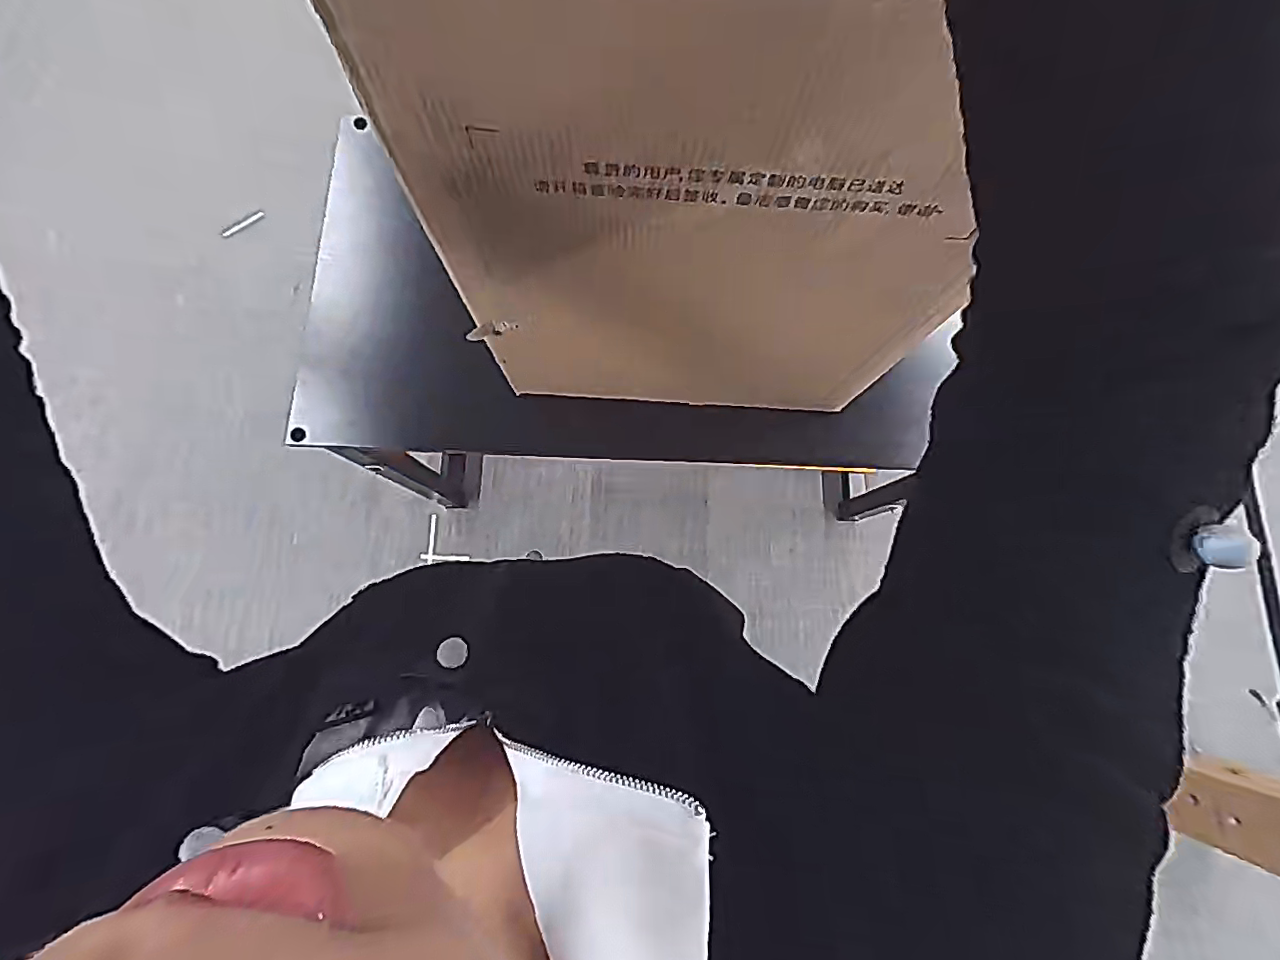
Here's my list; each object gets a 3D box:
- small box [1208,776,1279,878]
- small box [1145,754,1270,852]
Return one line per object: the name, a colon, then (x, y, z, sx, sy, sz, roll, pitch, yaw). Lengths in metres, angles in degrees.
small box: (1.448, 0.779, 1.208, 0.179, 0.176, 0.168, 2, 78, -1)
small box: (1.442, 0.808, 1.370, 0.168, 0.176, 0.179, -1, 79, -2)
